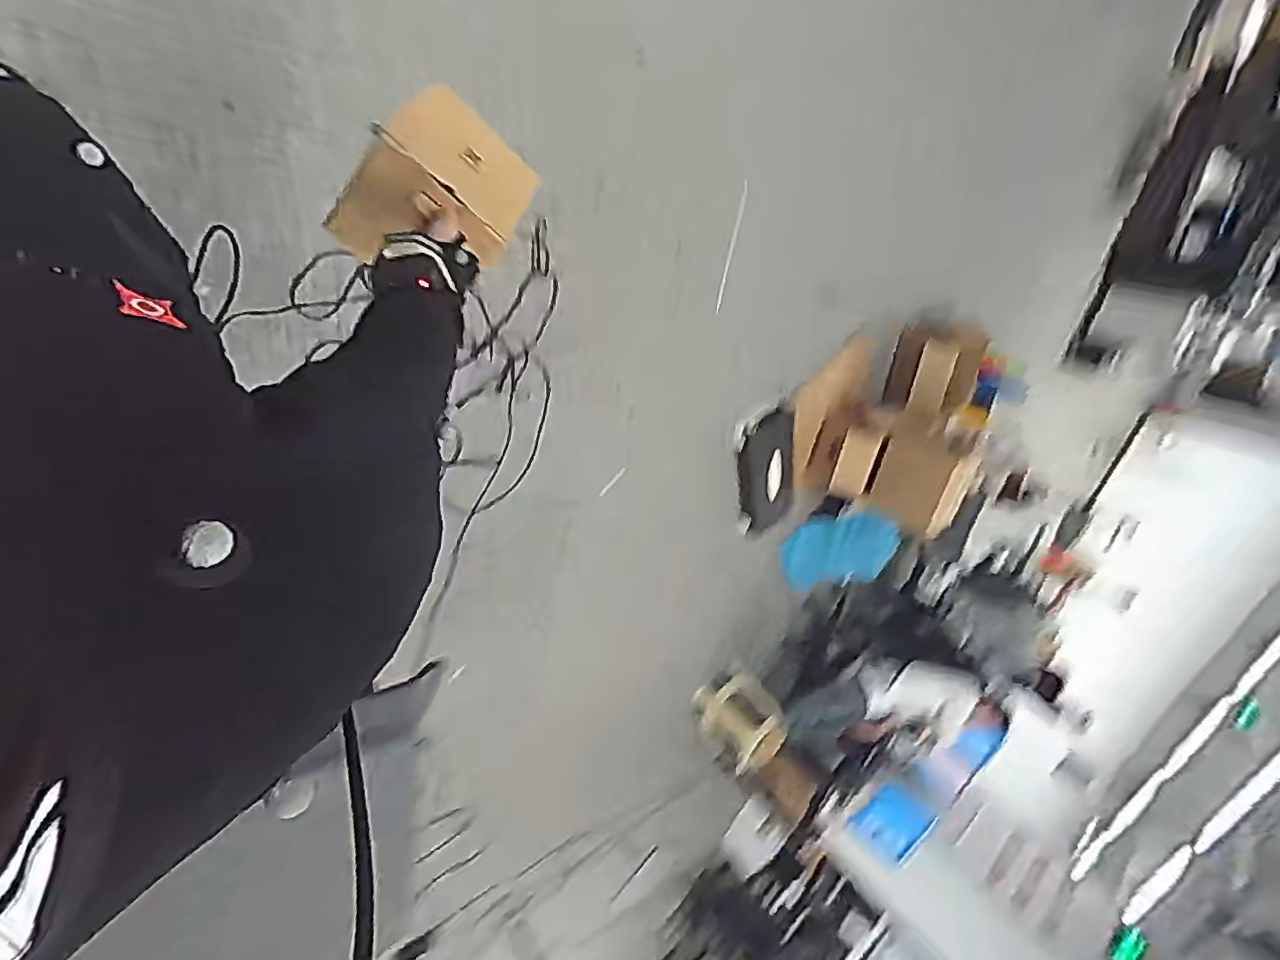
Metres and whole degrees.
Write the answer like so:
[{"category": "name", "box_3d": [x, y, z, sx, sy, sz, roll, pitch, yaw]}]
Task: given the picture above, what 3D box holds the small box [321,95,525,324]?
[{"category": "small box", "box_3d": [-0.282, -0.346, 0.712, 0.176, 0.179, 0.168, -26, 131, 36]}]
